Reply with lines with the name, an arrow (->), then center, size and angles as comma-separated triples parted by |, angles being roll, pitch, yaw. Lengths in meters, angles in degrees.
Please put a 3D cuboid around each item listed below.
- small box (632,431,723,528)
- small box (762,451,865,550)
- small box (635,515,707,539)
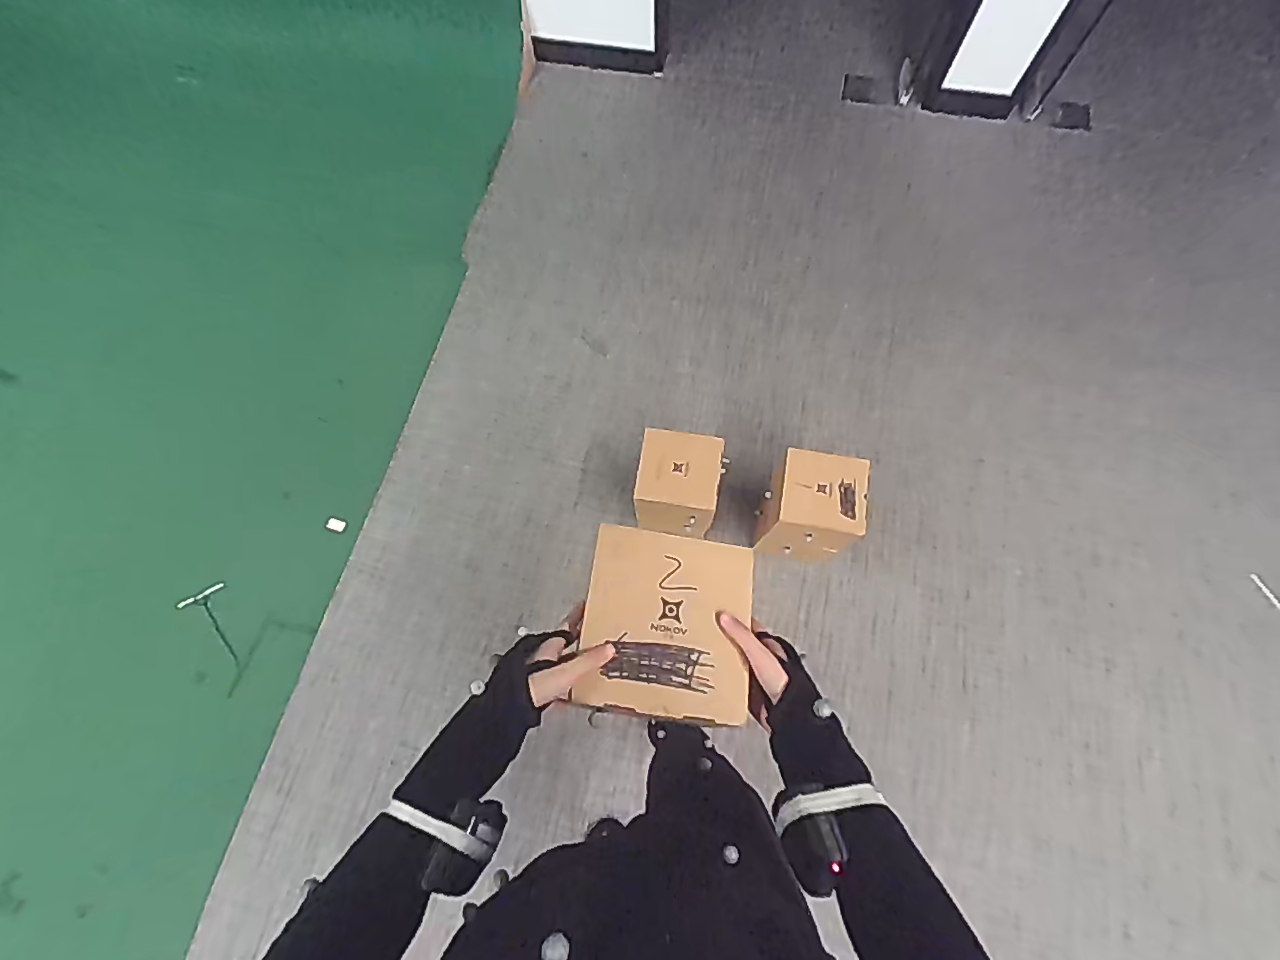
small box -> 0.084, 0.006, 1.237 | 0.179, 0.176, 0.168 | 9, 71, 6
small box -> 0.382, 0.052, 1.209 | 0.179, 0.176, 0.168 | 10, 71, 6
small box -> 0.090, 0.048, 1.396 | 0.179, 0.176, 0.168 | 8, 72, 6
